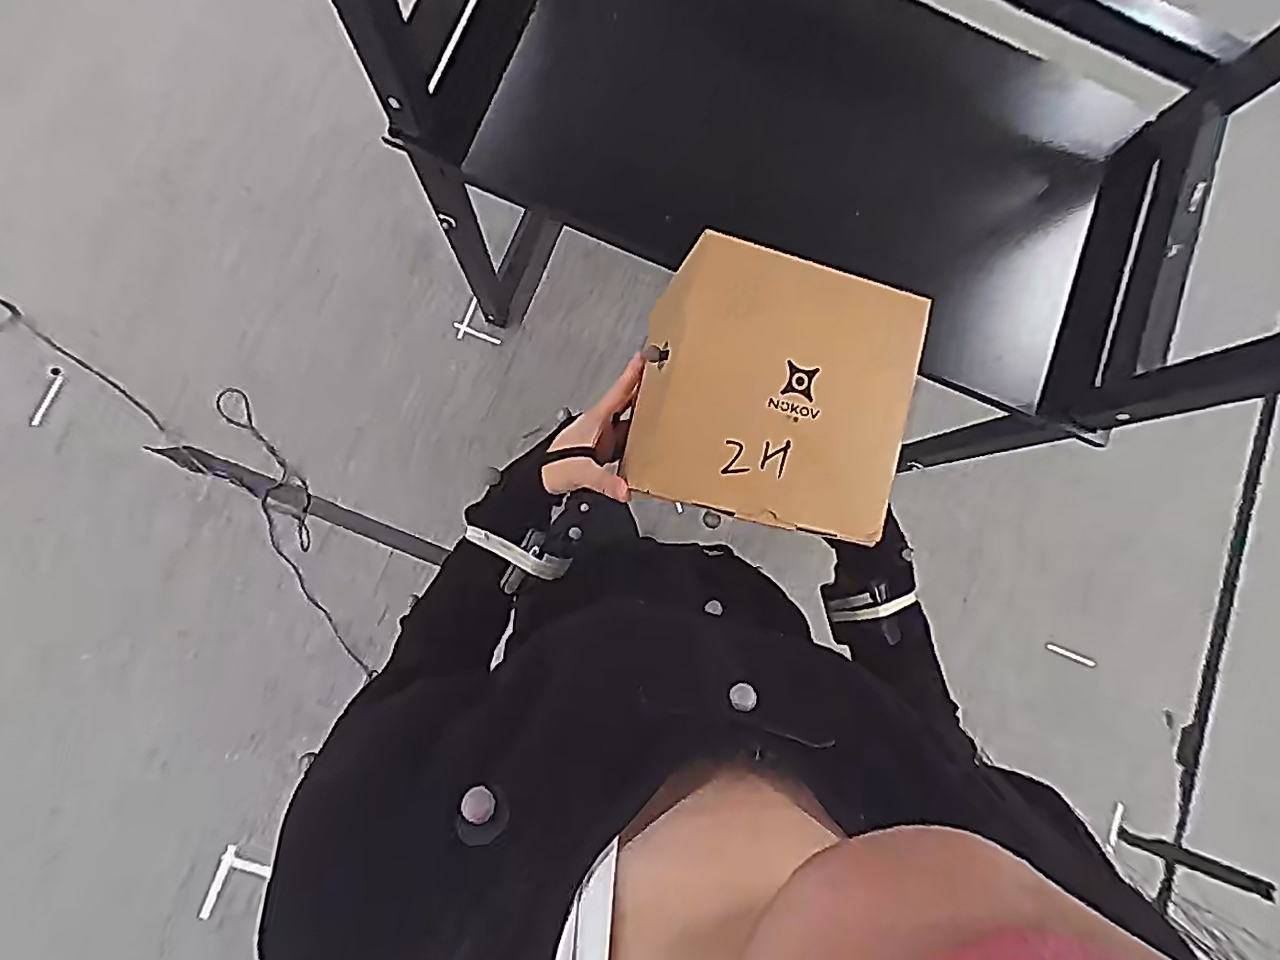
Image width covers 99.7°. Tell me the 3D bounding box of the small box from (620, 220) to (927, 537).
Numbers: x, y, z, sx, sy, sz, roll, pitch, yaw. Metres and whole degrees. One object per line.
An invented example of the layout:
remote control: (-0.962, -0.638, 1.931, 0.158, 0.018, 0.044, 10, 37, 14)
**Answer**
small box: (0.087, -0.065, 0.432, 0.168, 0.176, 0.179, 13, 90, -9)
